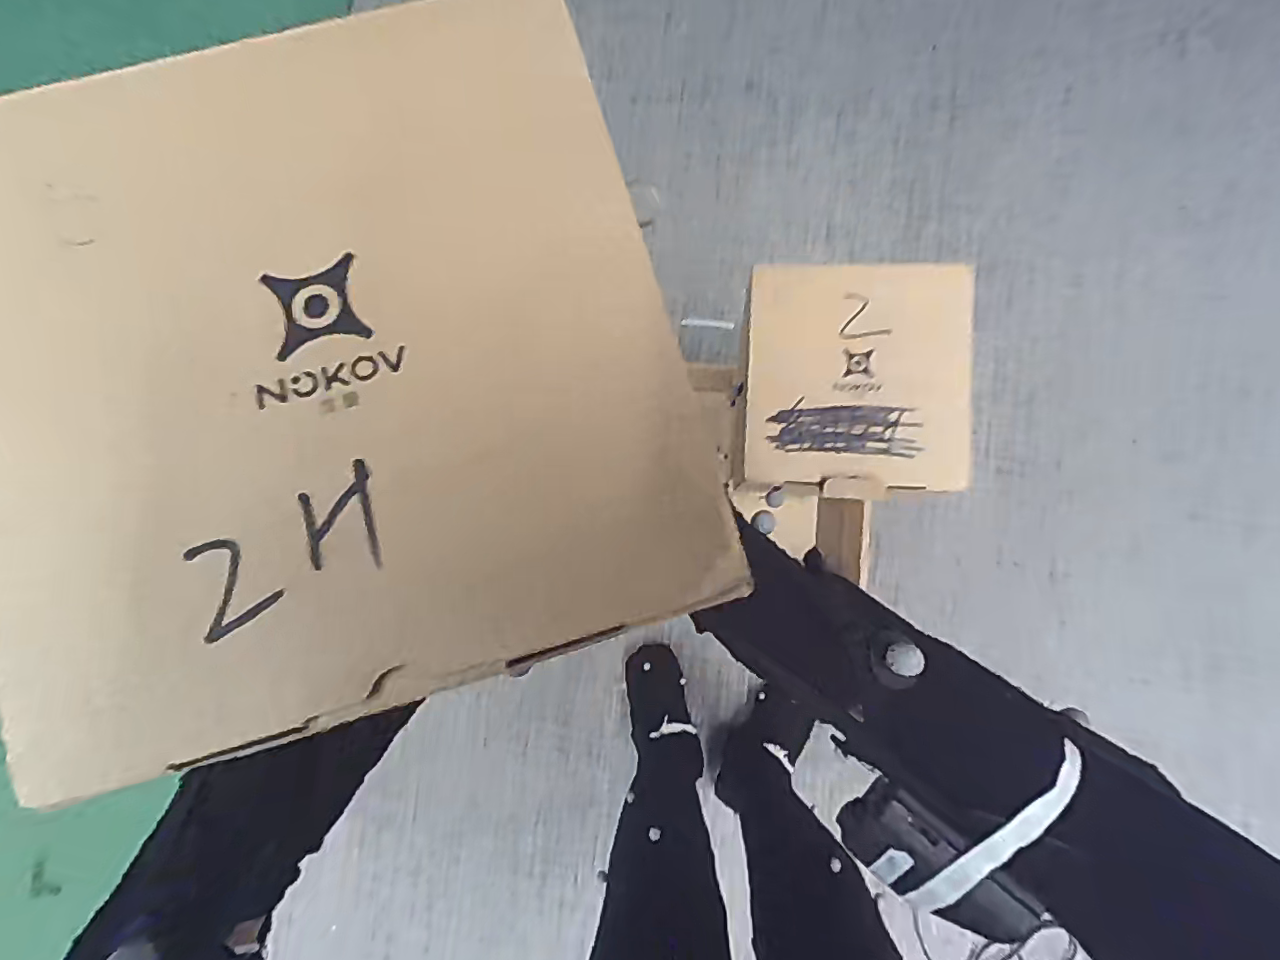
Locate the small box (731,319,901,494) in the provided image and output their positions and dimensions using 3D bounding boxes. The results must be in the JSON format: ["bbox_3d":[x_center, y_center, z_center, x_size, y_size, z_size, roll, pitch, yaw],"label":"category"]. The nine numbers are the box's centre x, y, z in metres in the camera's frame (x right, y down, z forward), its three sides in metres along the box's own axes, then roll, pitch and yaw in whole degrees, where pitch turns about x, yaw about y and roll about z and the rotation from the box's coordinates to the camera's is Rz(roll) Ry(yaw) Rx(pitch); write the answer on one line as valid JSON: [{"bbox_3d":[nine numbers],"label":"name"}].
[{"bbox_3d":[0.196,-0.077,0.657,0.168,0.176,0.179,5,87,6],"label":"small box"}]
